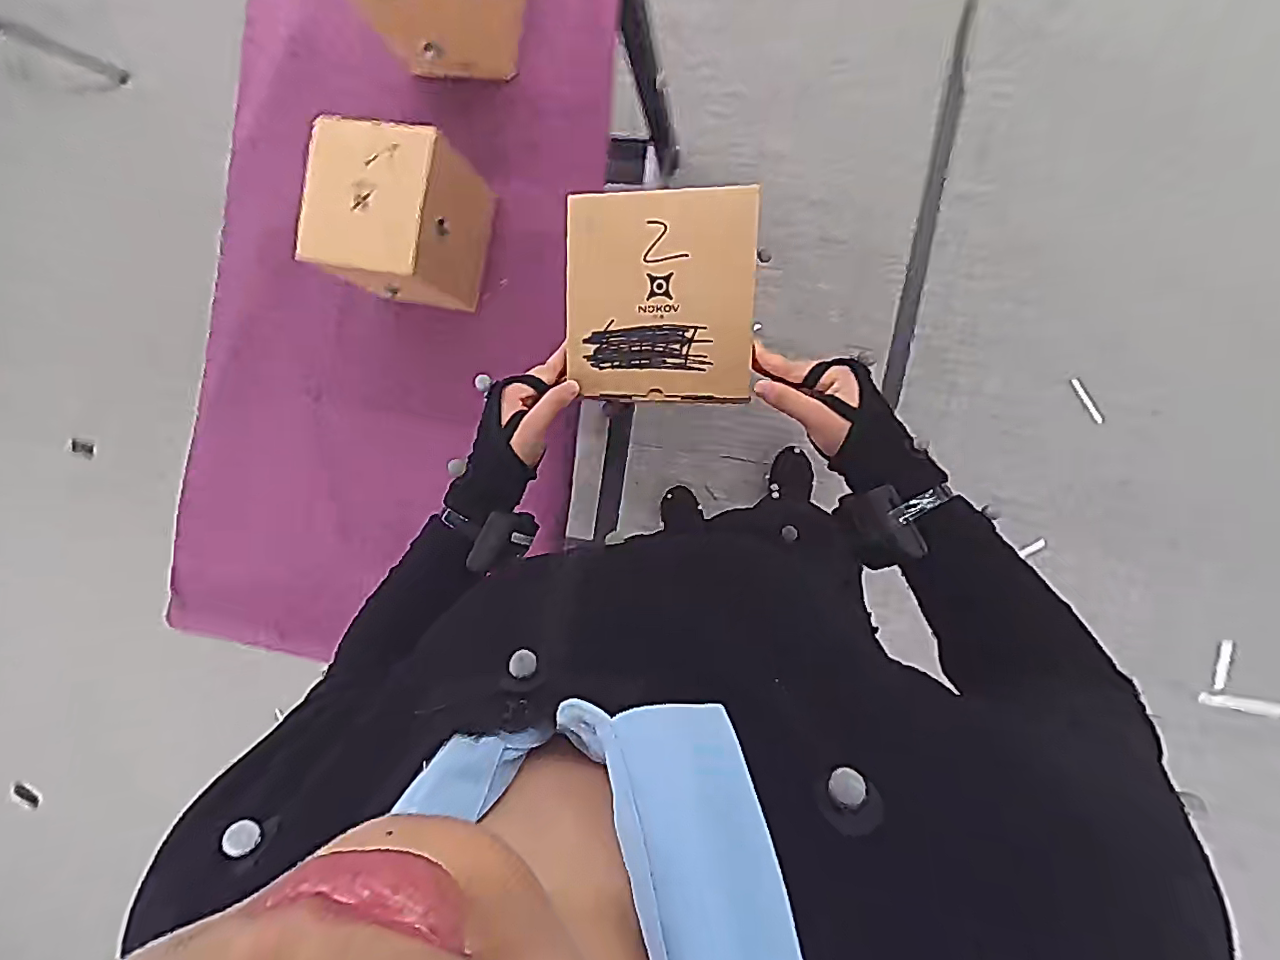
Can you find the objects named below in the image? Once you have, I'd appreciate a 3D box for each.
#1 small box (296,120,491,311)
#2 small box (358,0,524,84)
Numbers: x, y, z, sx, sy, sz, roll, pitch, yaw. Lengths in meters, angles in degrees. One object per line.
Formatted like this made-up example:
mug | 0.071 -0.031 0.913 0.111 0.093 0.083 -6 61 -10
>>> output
small box | -0.321 -0.345 0.735 0.168 0.176 0.179 12 93 9
small box | -0.265 -0.675 0.715 0.168 0.176 0.179 12 95 11
